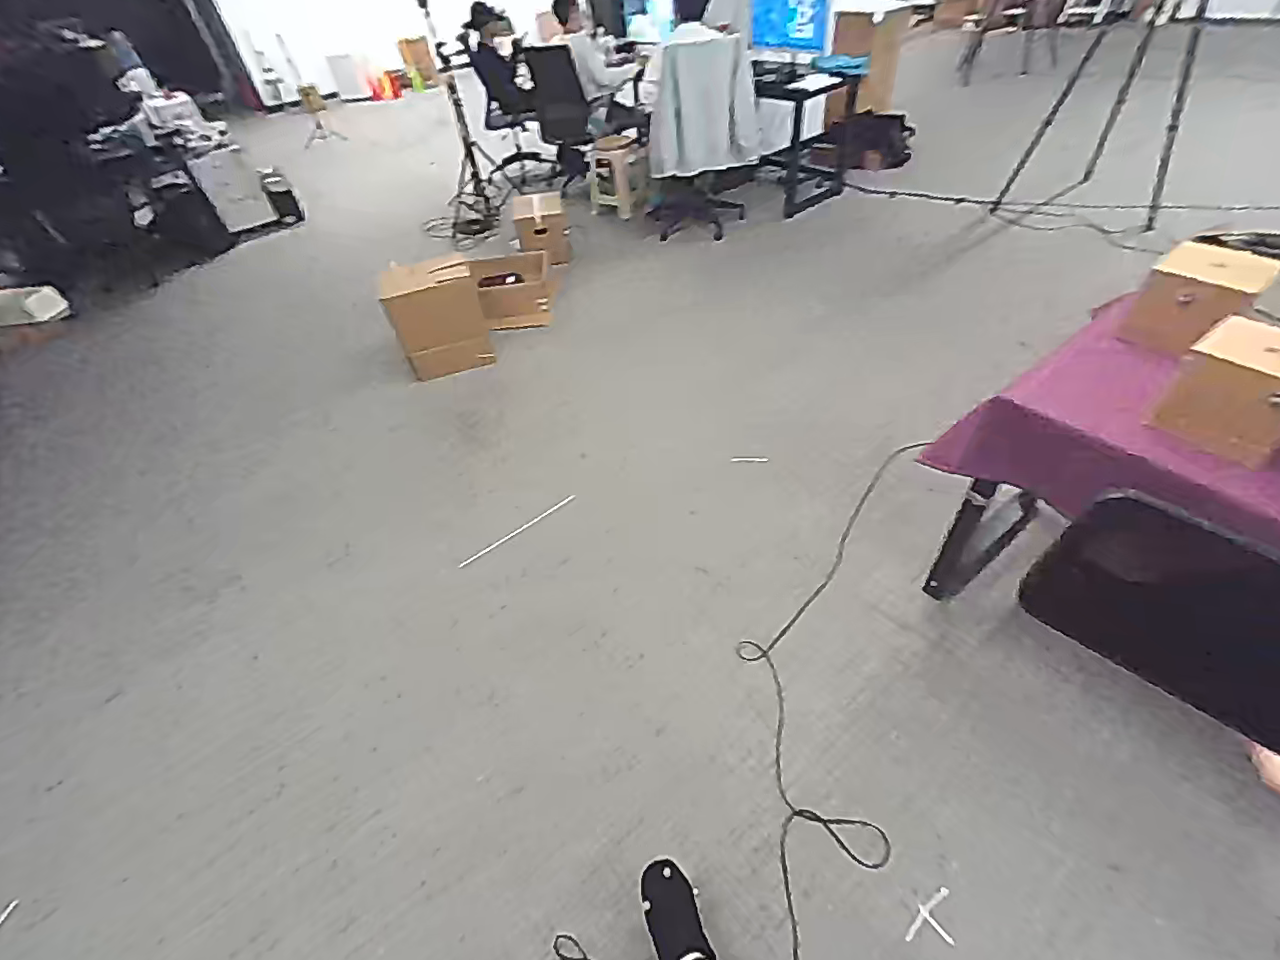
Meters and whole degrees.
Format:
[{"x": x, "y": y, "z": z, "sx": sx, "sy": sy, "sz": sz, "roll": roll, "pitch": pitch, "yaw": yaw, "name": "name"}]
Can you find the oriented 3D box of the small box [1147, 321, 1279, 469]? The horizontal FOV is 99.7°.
[{"x": 1.072, "y": -0.151, "z": 0.959, "sx": 0.168, "sy": 0.176, "sz": 0.179, "roll": -30, "pitch": 50, "yaw": -21, "name": "small box"}]
